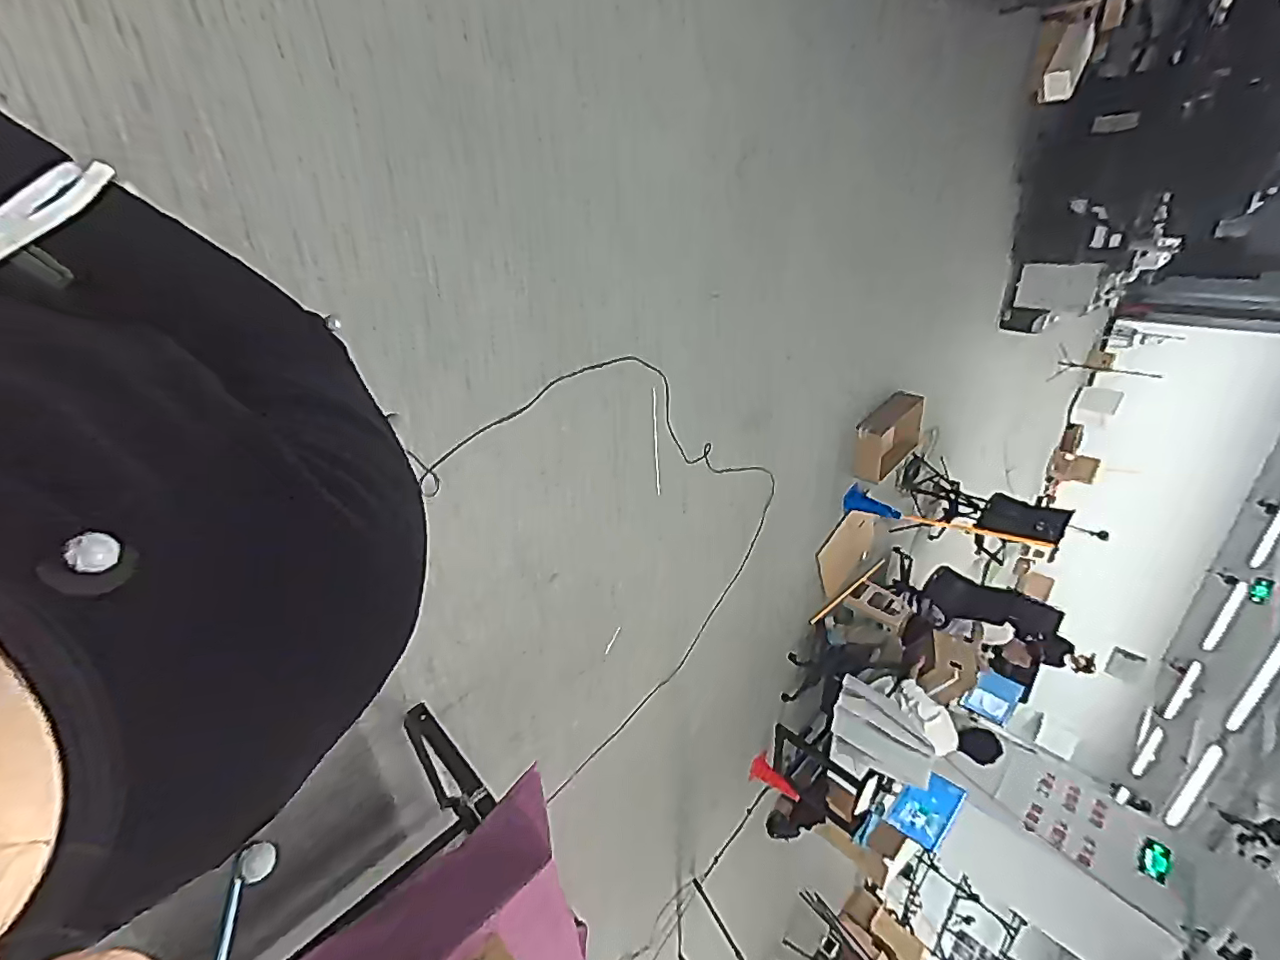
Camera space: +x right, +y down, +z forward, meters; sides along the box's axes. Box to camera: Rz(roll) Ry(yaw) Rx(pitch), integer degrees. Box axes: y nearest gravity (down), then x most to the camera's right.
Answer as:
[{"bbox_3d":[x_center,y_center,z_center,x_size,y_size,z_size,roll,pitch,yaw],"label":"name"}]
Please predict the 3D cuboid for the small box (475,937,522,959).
[{"bbox_3d":[-0.321,1.199,1.219,0.168,0.176,0.179,-24,122,-38],"label":"small box"}]
